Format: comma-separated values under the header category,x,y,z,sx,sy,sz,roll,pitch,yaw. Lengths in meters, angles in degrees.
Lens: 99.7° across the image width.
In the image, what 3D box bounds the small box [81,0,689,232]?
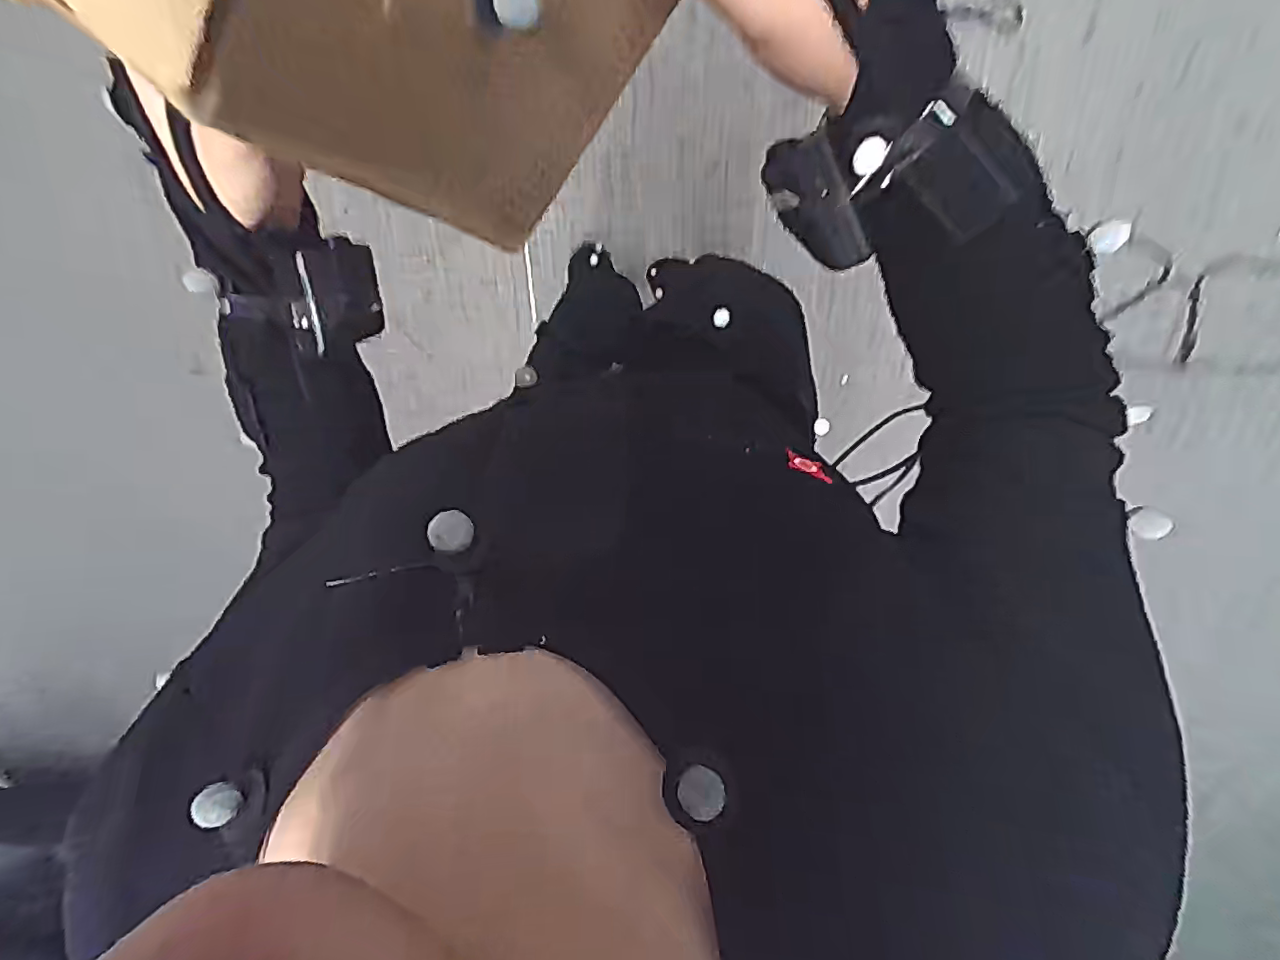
category,x,y,z,sx,sy,sz,roll,pitch,yaw
small box,-0.085,-0.216,0.180,0.168,0.176,0.179,42,109,2
